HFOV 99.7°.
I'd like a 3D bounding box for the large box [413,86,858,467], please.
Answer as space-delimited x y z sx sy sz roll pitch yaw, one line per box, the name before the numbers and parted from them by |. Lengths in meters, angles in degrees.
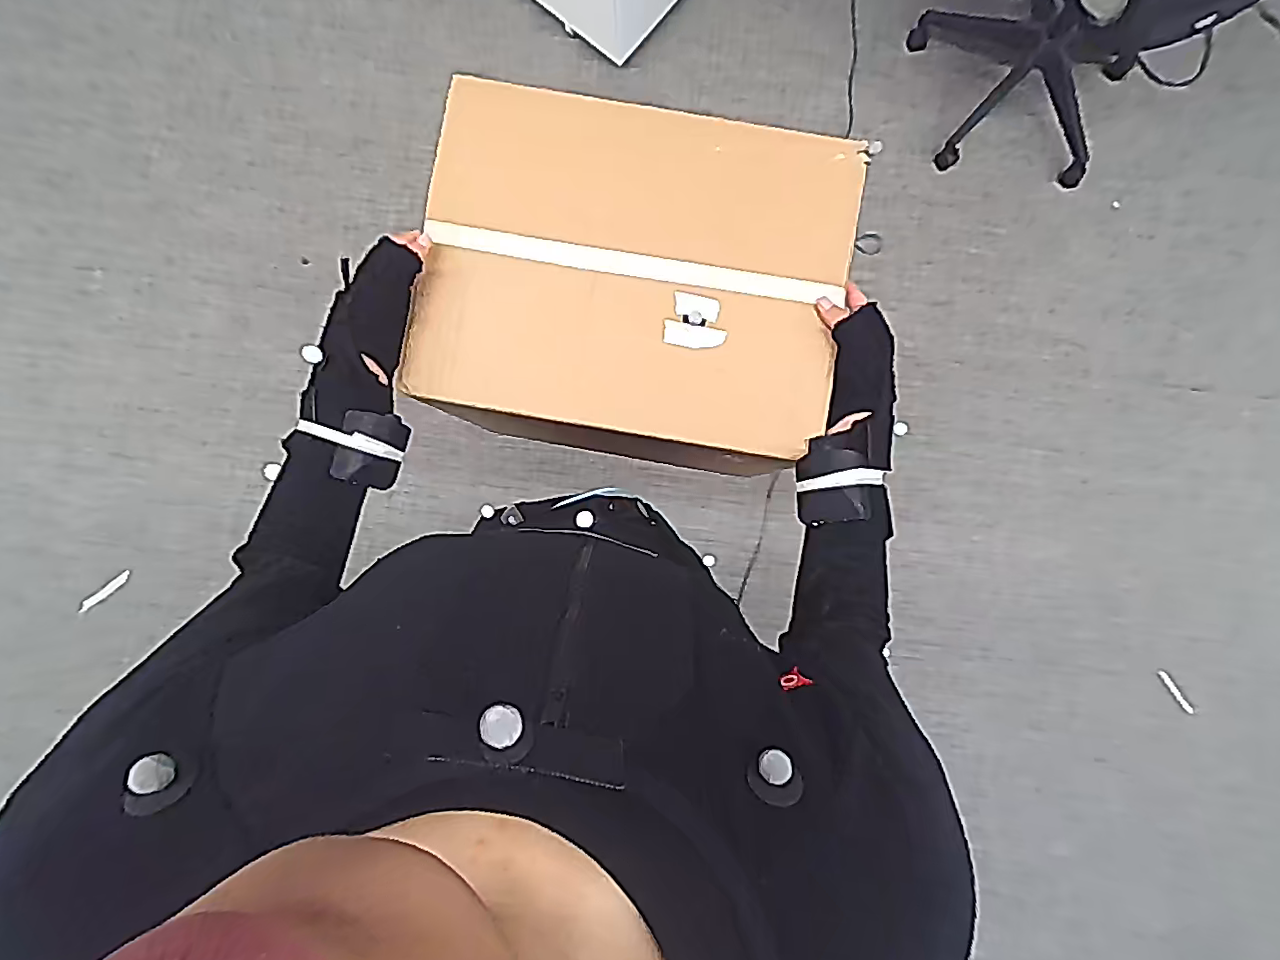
large box | -0.005 -0.206 0.678 0.408 0.320 0.320 11 89 1
